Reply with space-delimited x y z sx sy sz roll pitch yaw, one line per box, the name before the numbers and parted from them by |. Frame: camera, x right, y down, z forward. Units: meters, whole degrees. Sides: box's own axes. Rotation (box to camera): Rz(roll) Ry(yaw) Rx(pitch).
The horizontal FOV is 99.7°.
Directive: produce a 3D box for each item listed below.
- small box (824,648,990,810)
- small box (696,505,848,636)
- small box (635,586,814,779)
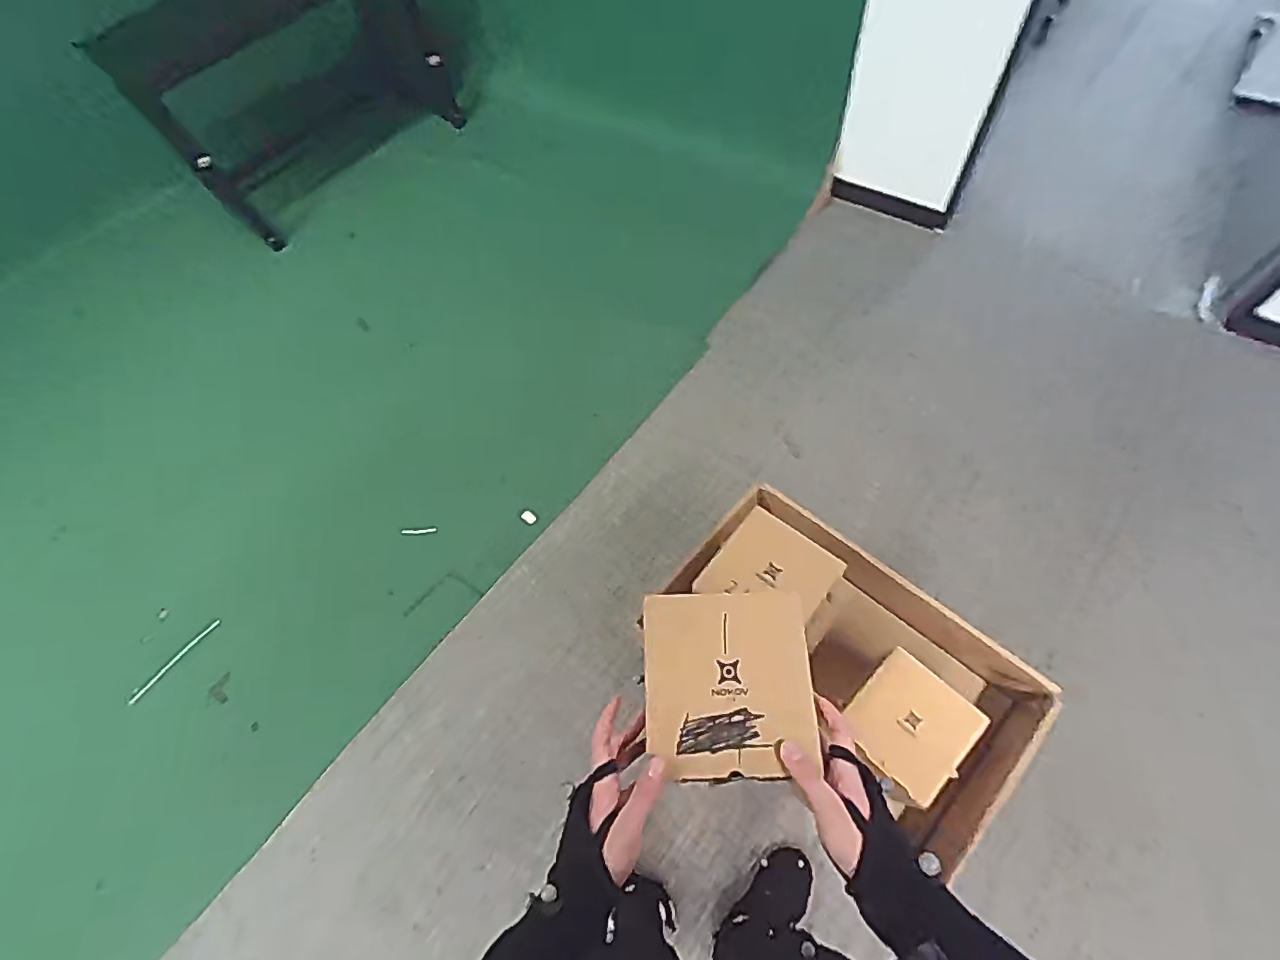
small box | 0.438 0.418 0.920 0.179 0.176 0.168 -43 65 -13
small box | 0.208 0.179 0.889 0.168 0.176 0.179 36 73 24
small box | 0.081 0.223 0.602 0.168 0.176 0.179 -2 66 0
